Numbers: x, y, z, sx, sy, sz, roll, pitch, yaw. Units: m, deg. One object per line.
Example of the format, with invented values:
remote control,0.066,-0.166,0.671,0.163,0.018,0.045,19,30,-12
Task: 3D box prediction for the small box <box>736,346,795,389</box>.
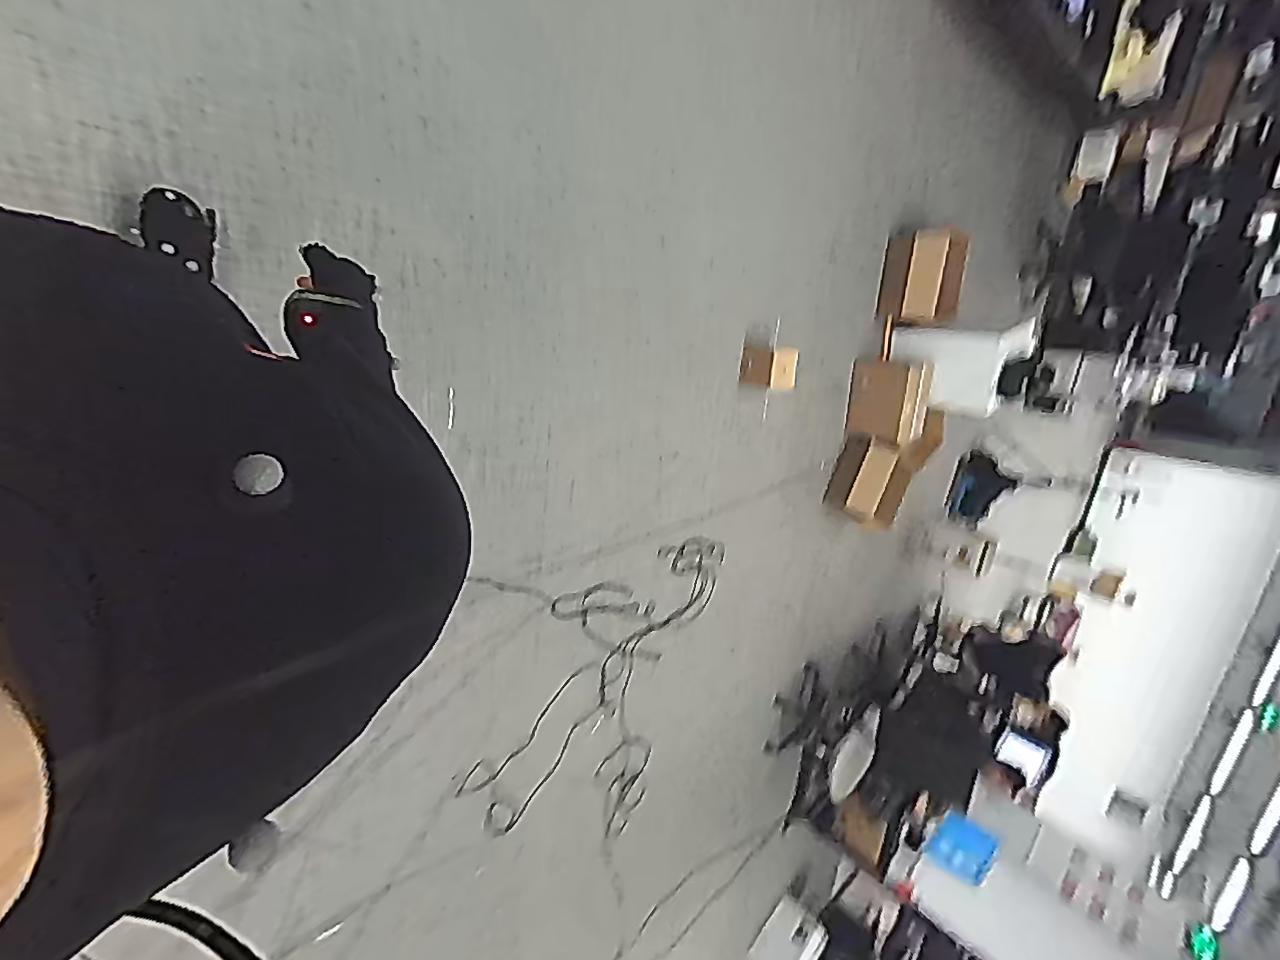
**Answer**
small box,0.546,-0.491,2.352,0.179,0.176,0.168,-10,111,-40
